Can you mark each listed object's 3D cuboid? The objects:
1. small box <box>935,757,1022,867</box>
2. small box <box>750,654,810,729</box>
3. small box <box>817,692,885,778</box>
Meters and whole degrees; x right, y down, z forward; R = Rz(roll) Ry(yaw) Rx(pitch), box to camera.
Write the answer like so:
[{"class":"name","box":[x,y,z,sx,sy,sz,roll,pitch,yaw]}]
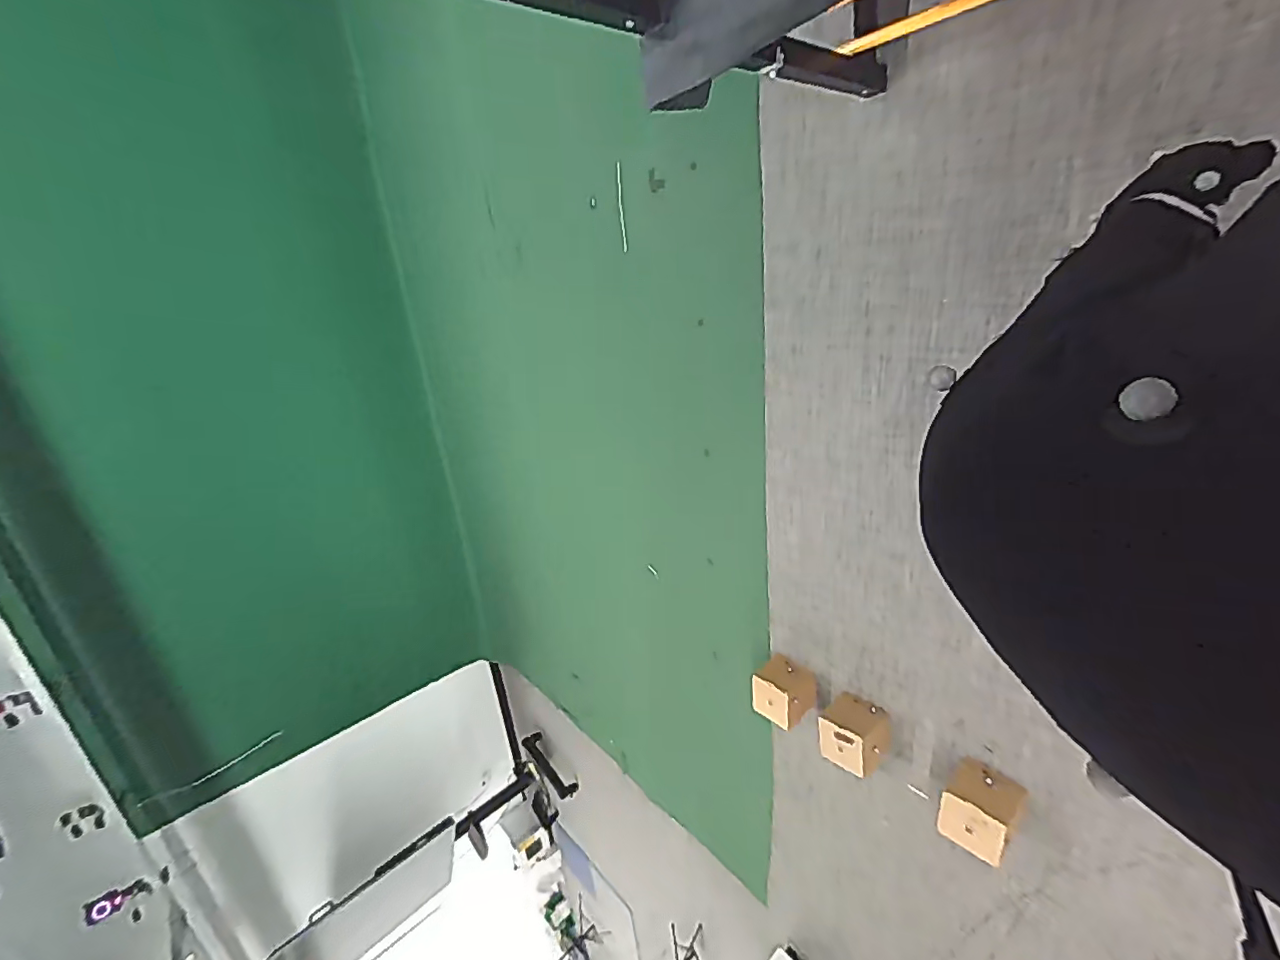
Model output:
[{"class":"small box","box":[1.002,0.973,1.599,0.168,0.176,0.179,18,120,45]},{"class":"small box","box":[0.545,0.814,2.099,0.168,0.176,0.179,17,119,46]},{"class":"small box","box":[0.738,0.881,1.888,0.168,0.176,0.179,12,117,49]}]
